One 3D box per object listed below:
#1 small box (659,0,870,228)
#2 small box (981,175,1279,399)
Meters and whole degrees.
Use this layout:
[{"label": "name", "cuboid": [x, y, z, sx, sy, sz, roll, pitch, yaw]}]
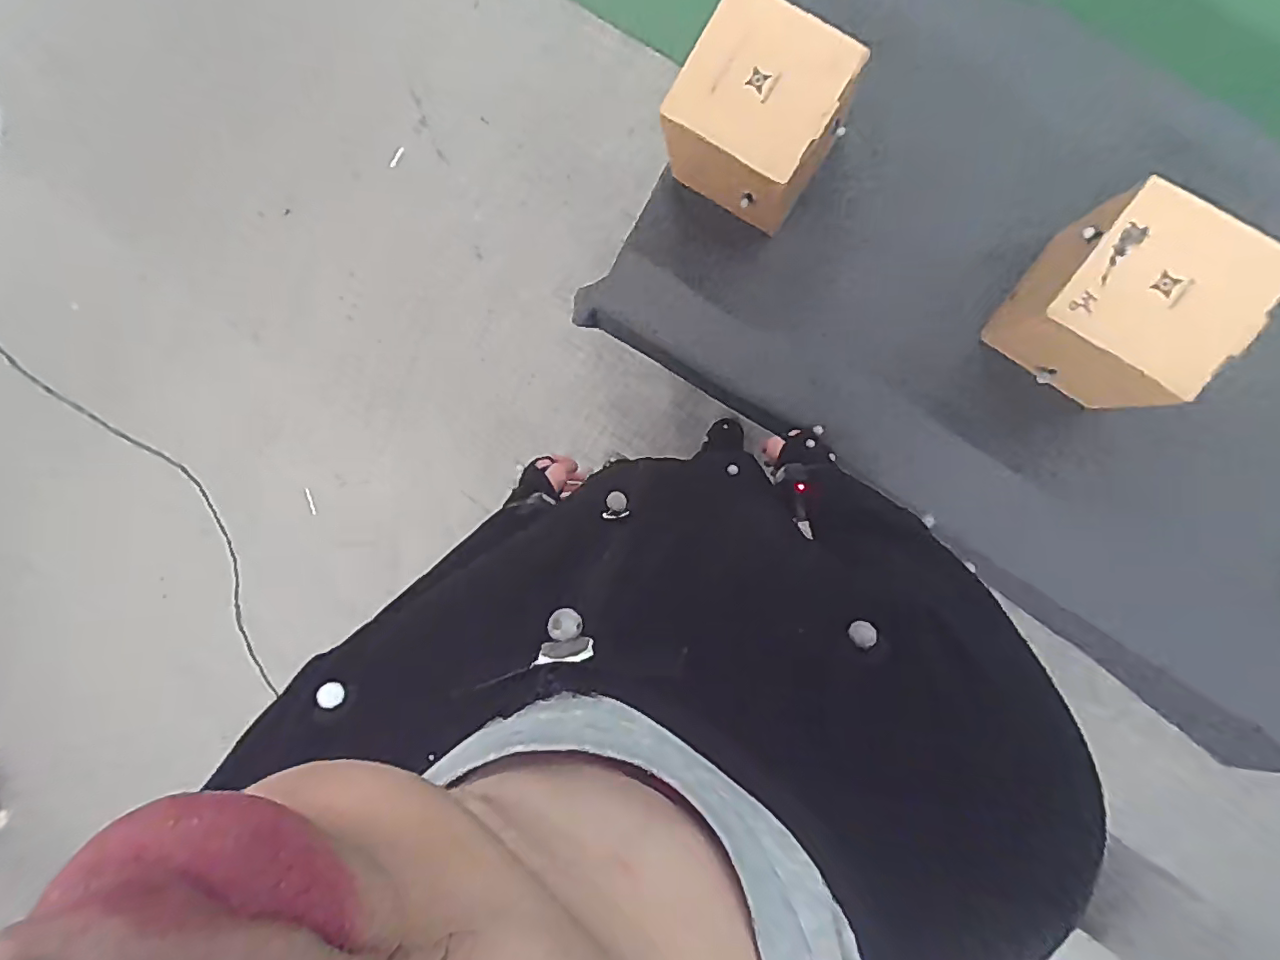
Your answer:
[{"label": "small box", "cuboid": [0.145, -0.446, 0.674, 0.179, 0.176, 0.168, 32, 97, 5]}, {"label": "small box", "cuboid": [0.563, -0.210, 0.641, 0.179, 0.176, 0.168, 34, 98, 3]}]
